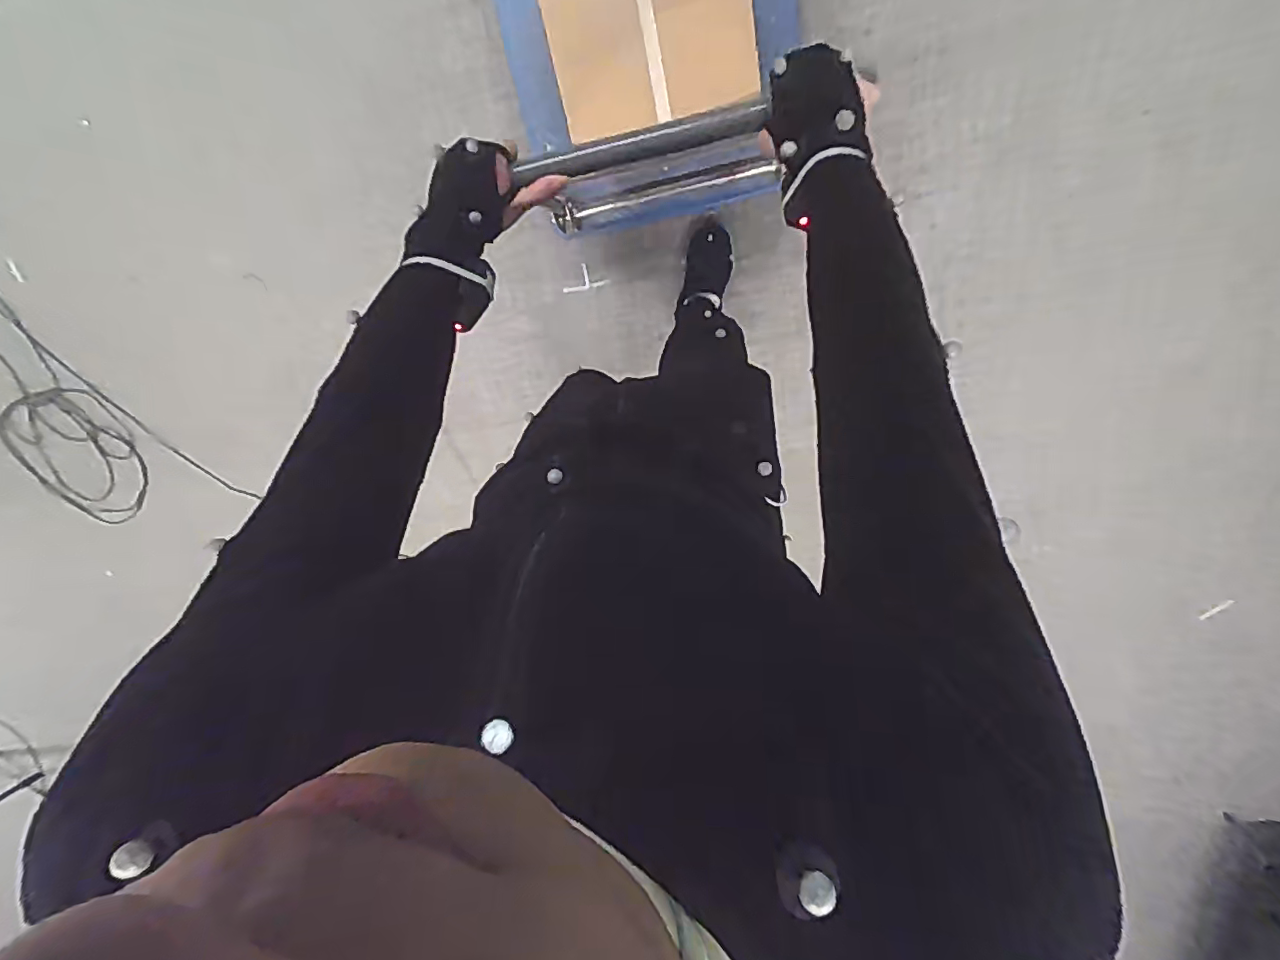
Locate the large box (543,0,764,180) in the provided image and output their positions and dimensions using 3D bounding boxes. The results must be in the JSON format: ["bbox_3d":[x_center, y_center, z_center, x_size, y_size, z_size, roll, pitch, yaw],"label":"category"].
[{"bbox_3d":[0.026,-0.794,0.945,0.320,0.320,0.408,-8,113,11],"label":"large box"}]
